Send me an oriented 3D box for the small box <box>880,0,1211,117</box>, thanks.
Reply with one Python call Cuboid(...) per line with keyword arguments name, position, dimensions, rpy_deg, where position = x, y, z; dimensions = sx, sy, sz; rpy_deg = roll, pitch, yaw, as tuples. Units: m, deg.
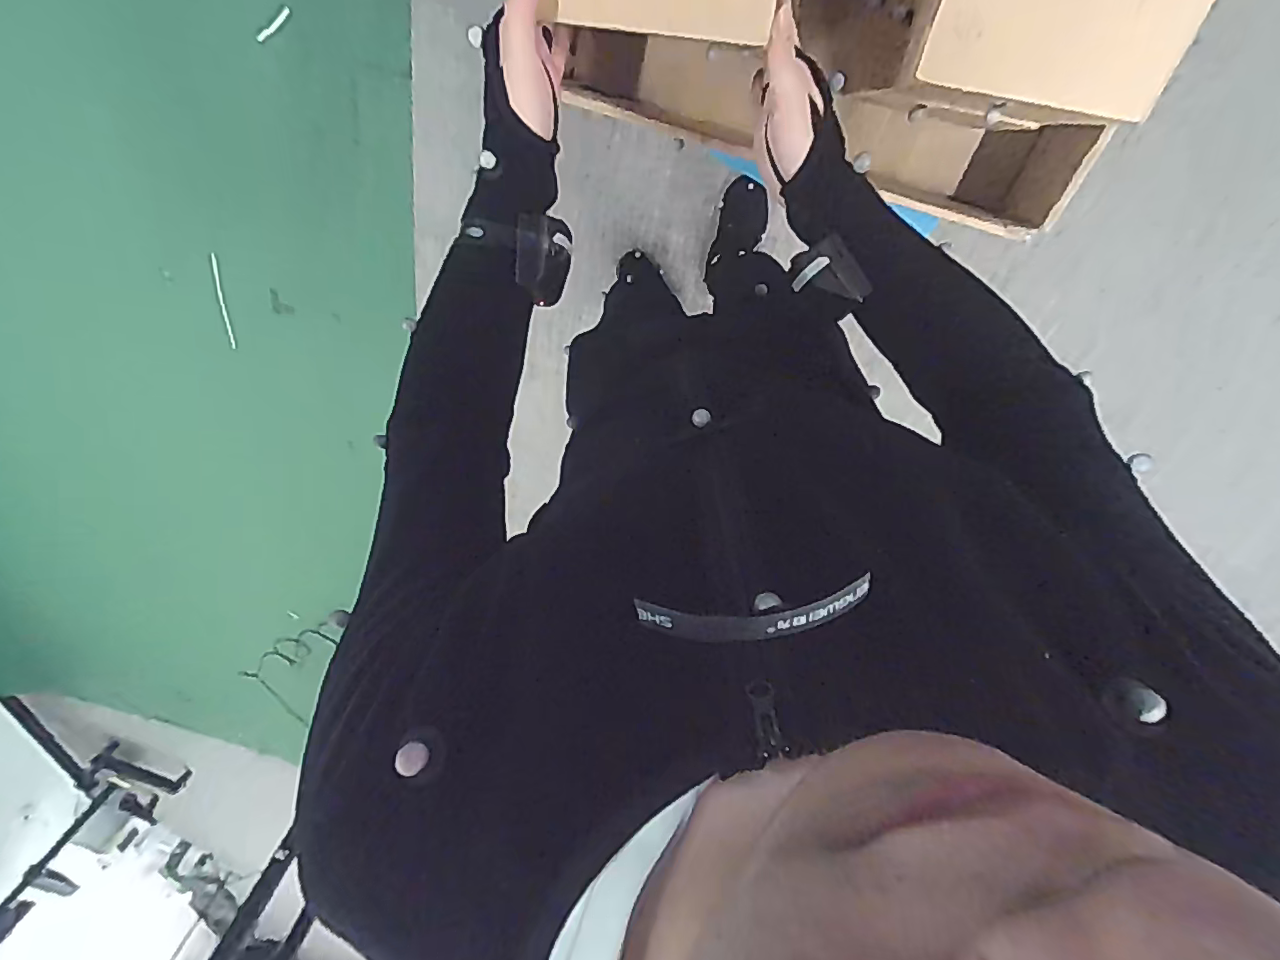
Cuboid(name="small box", position=(0.312, -0.393, 0.419), dimensions=(0.179, 0.176, 0.168), rpy_deg=(14, 126, 3))
